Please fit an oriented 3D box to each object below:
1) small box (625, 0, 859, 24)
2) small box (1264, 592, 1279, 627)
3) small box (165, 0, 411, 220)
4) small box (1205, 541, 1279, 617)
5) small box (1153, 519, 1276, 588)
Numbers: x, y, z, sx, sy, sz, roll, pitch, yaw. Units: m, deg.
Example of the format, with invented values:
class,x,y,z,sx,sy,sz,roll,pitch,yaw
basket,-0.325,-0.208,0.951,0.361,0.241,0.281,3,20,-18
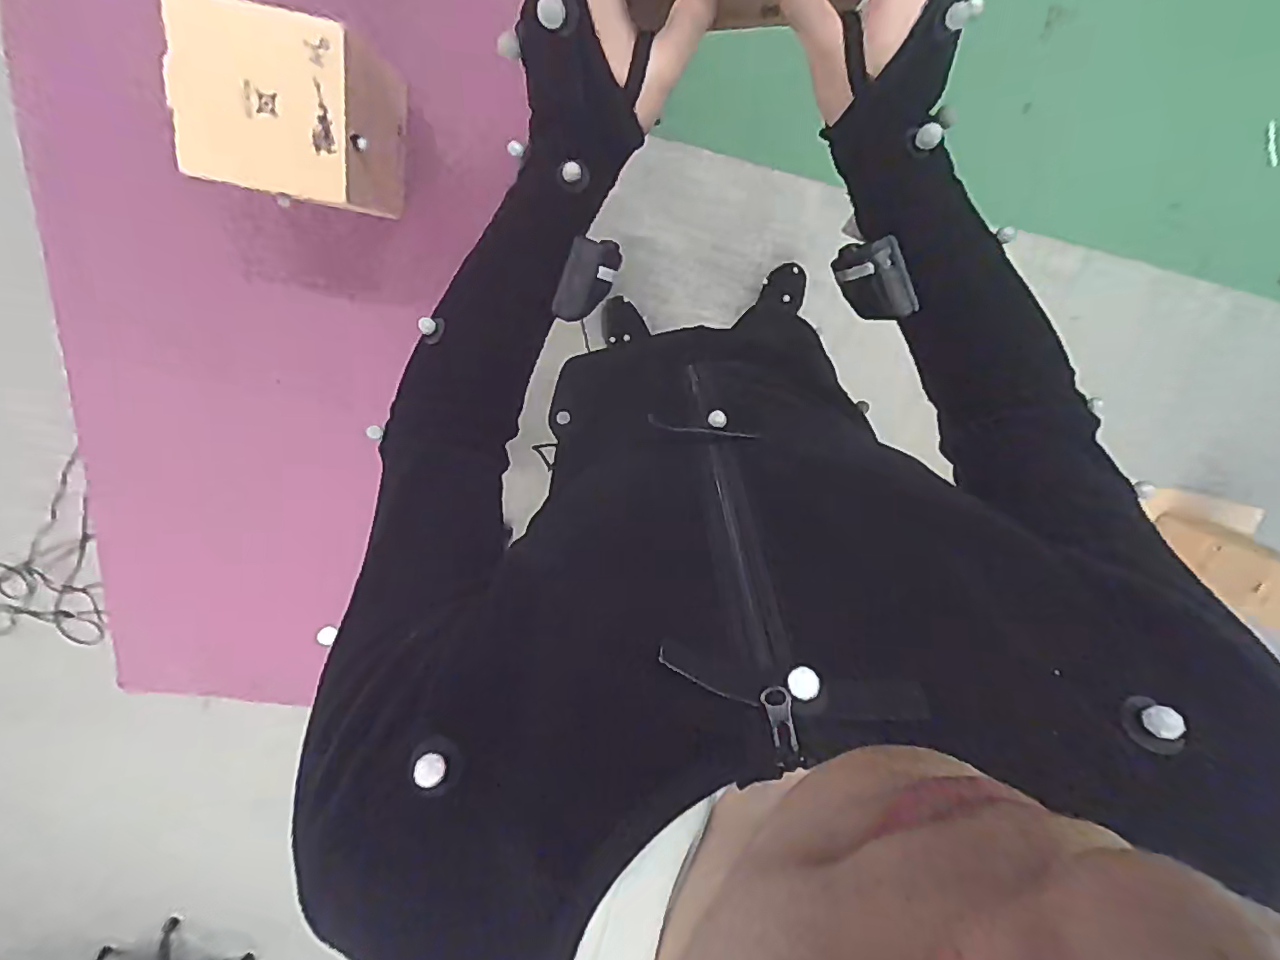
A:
class,x,y,z,sx,sy,sz,roll,pitch,yaw
small box,0.063,-0.373,0.277,0.168,0.176,0.179,-2,104,1
small box,1.834,0.350,1.419,0.179,0.176,0.168,8,109,-6
small box,-0.391,-0.412,0.631,0.179,0.176,0.168,9,111,-4
small box,1.827,0.291,1.570,0.179,0.176,0.168,7,109,-6
small box,1.820,0.235,1.723,0.179,0.176,0.168,4,109,-4
